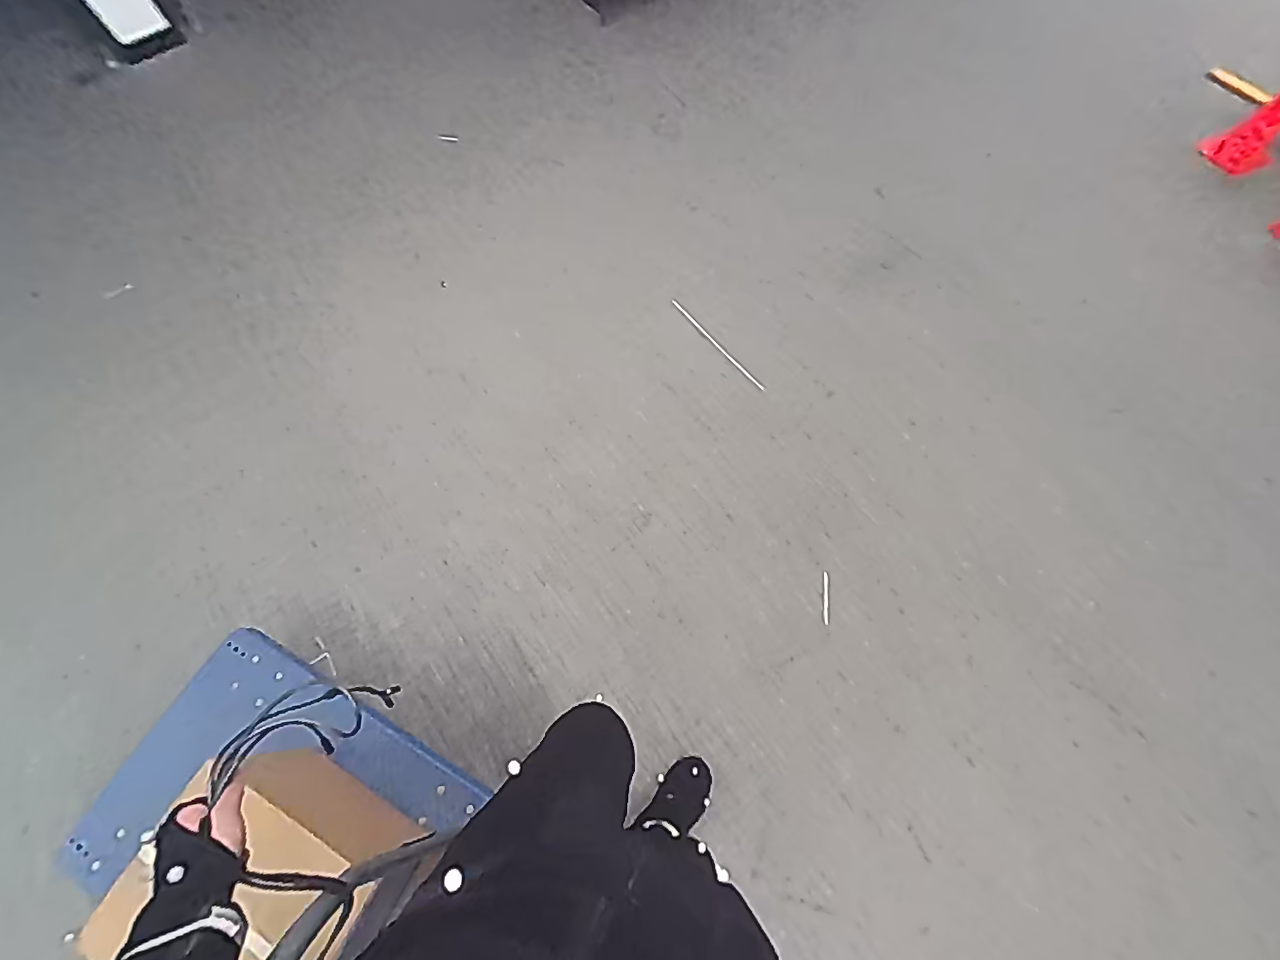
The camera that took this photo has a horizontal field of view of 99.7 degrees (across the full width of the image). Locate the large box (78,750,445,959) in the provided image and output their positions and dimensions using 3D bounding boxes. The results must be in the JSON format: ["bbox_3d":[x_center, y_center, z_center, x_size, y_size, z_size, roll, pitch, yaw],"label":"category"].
[{"bbox_3d":[-0.664,0.767,1.019,0.408,0.320,0.320,25,70,14],"label":"large box"}]
